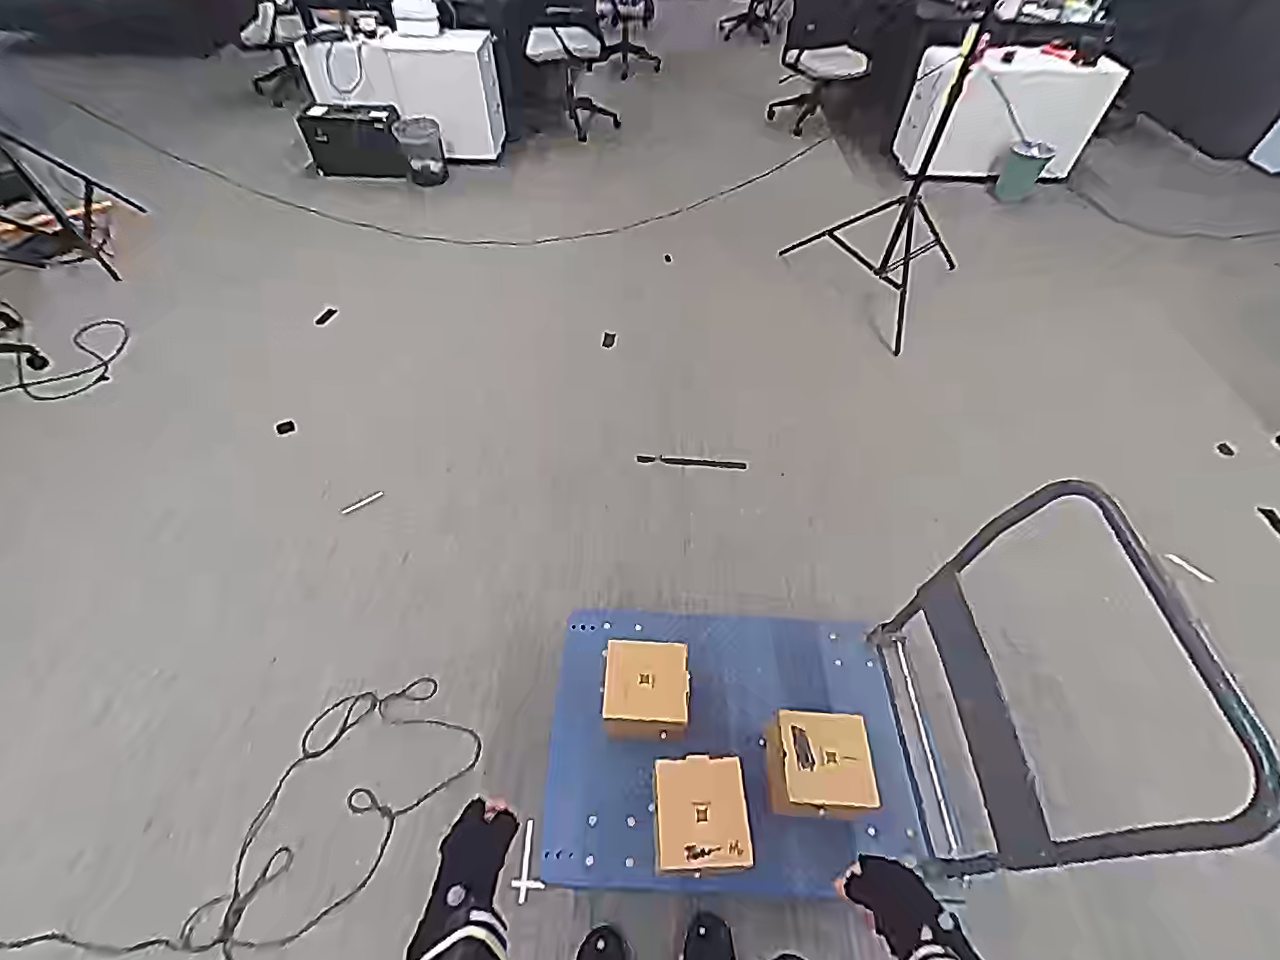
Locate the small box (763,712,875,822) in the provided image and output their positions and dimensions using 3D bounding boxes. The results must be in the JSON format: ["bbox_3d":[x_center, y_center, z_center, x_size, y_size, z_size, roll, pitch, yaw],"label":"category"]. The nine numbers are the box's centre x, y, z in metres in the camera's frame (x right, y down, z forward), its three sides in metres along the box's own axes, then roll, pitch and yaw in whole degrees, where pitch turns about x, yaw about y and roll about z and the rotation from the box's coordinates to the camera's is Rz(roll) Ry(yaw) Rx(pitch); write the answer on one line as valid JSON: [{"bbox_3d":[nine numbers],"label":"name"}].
[{"bbox_3d":[0.356,0.596,1.118,0.179,0.176,0.168,4,51,0],"label":"small box"}]

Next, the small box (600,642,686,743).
[{"bbox_3d":[0.007,0.476,1.203,0.179,0.176,0.168,2,50,0],"label":"small box"}]

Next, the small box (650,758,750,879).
[{"bbox_3d":[0.107,0.662,1.057,0.168,0.176,0.179,-1,50,-2],"label":"small box"}]
